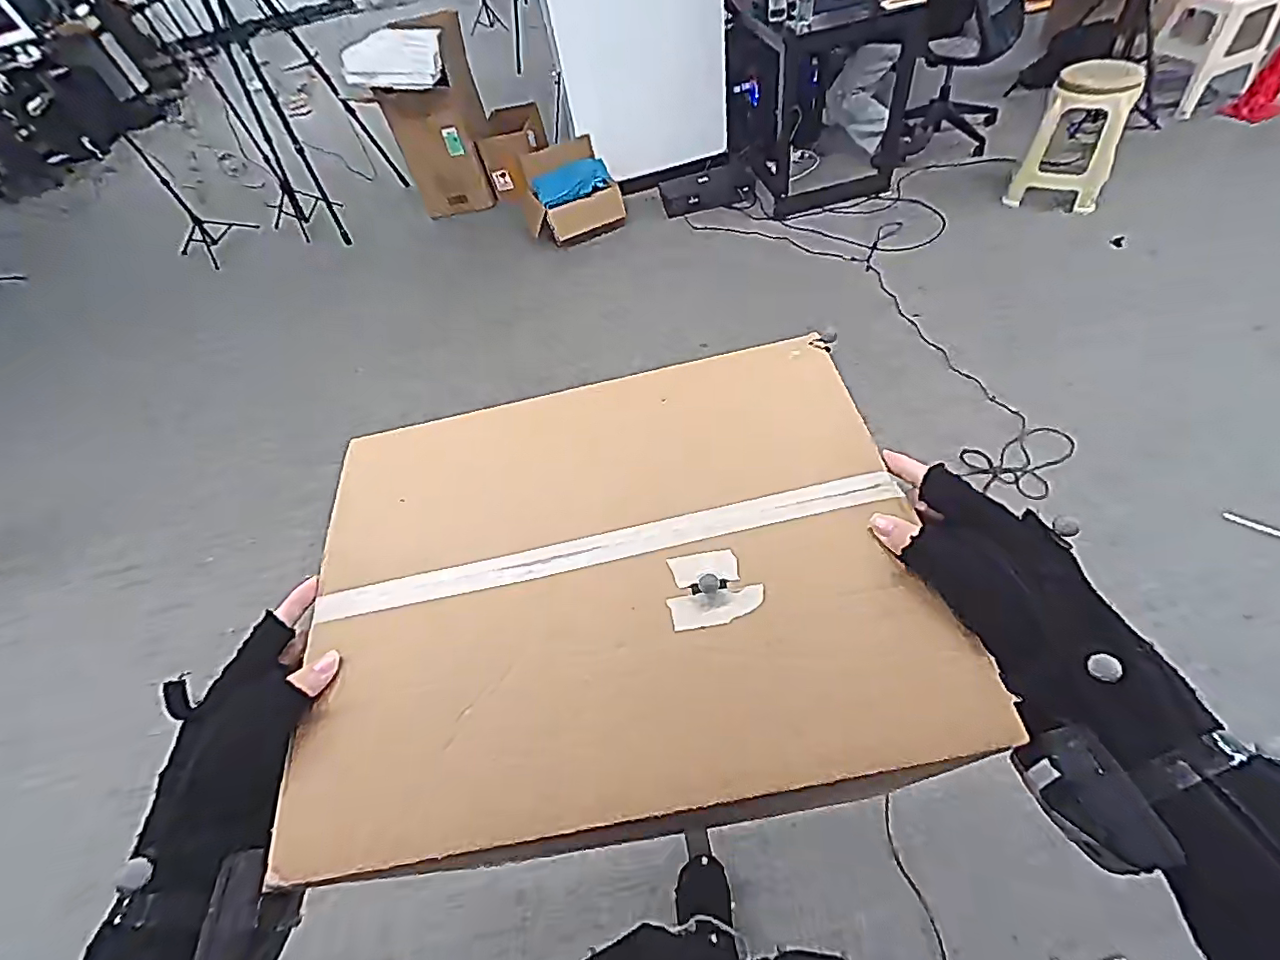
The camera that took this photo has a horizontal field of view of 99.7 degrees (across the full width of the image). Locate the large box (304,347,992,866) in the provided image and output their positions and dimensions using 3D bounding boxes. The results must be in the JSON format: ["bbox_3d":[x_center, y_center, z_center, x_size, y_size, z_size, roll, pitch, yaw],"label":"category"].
[{"bbox_3d":[-0.002,0.133,0.505,0.408,0.320,0.320,-12,56,2],"label":"large box"}]
